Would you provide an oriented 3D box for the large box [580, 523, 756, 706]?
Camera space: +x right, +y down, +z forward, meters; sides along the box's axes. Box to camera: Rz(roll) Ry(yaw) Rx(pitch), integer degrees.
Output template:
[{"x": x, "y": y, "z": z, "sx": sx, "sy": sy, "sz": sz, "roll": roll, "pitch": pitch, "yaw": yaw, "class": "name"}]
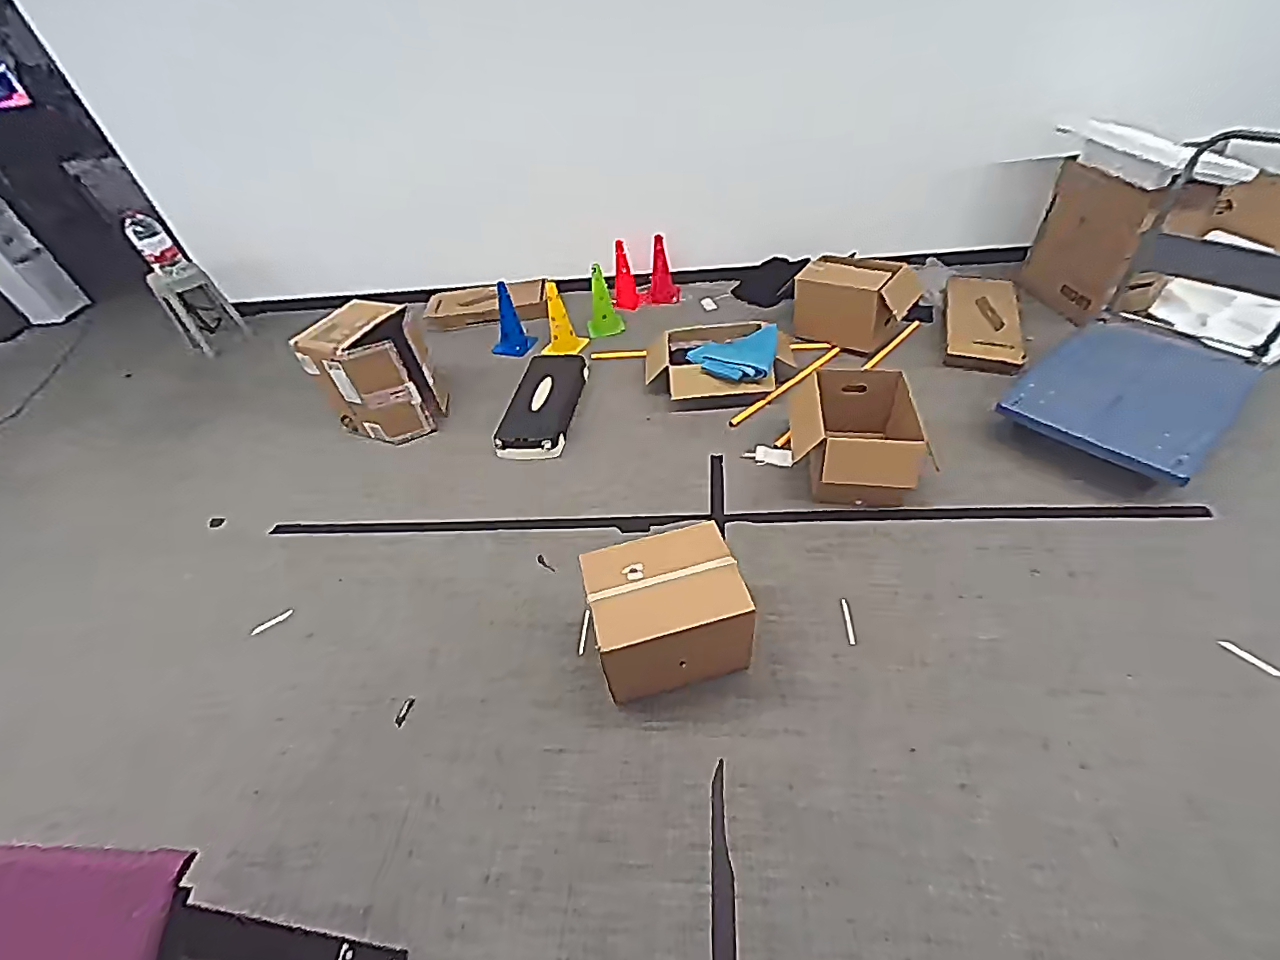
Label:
[{"x": 0.078, "y": 0.379, "z": 1.526, "sx": 0.408, "sy": 0.320, "sz": 0.320, "roll": -15, "pitch": 44, "yaw": -6, "class": "large box"}]
